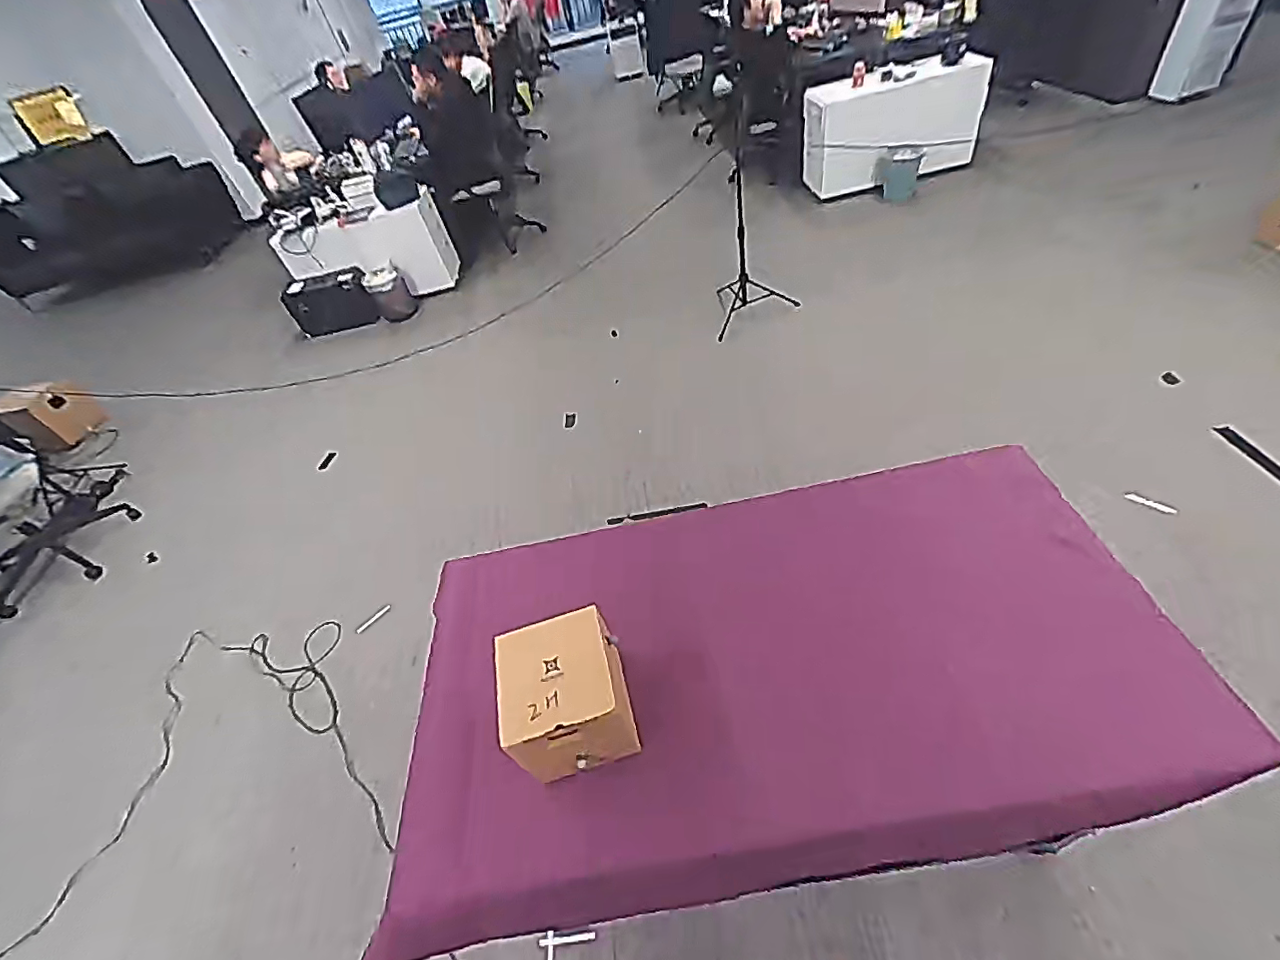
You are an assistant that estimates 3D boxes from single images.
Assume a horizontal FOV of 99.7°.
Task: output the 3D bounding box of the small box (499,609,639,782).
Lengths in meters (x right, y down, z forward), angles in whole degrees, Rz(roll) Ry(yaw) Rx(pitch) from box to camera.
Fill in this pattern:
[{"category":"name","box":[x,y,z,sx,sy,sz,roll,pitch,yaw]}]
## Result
[{"category":"small box","box":[-0.110,0.338,0.845,0.168,0.176,0.179,-18,45,-1]}]
